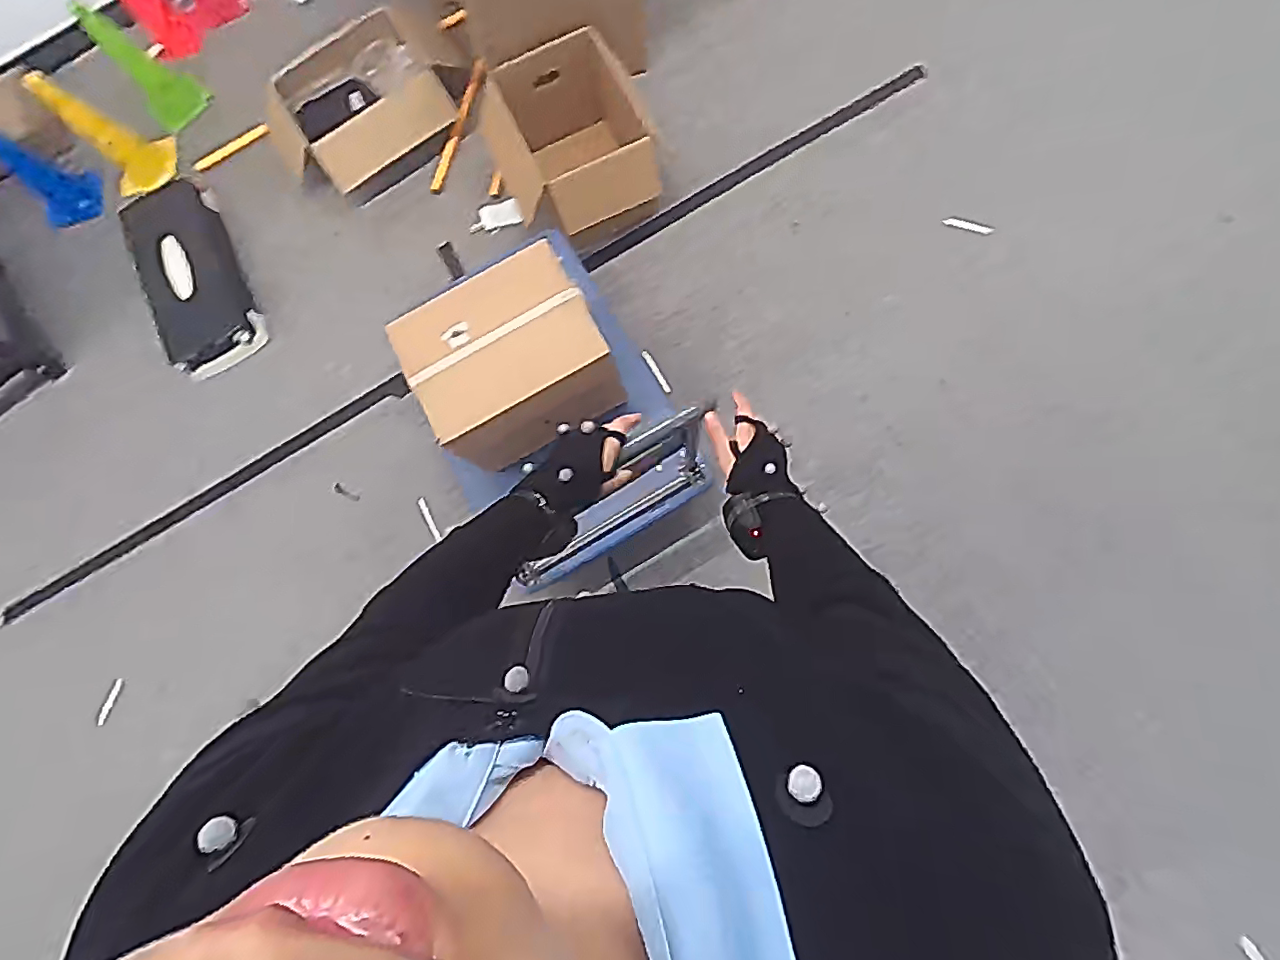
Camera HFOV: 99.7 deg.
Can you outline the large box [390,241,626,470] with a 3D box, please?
[{"bbox_3d":[-0.292,-0.275,1.303,0.408,0.320,0.320,-30,77,0],"label":"large box"}]
